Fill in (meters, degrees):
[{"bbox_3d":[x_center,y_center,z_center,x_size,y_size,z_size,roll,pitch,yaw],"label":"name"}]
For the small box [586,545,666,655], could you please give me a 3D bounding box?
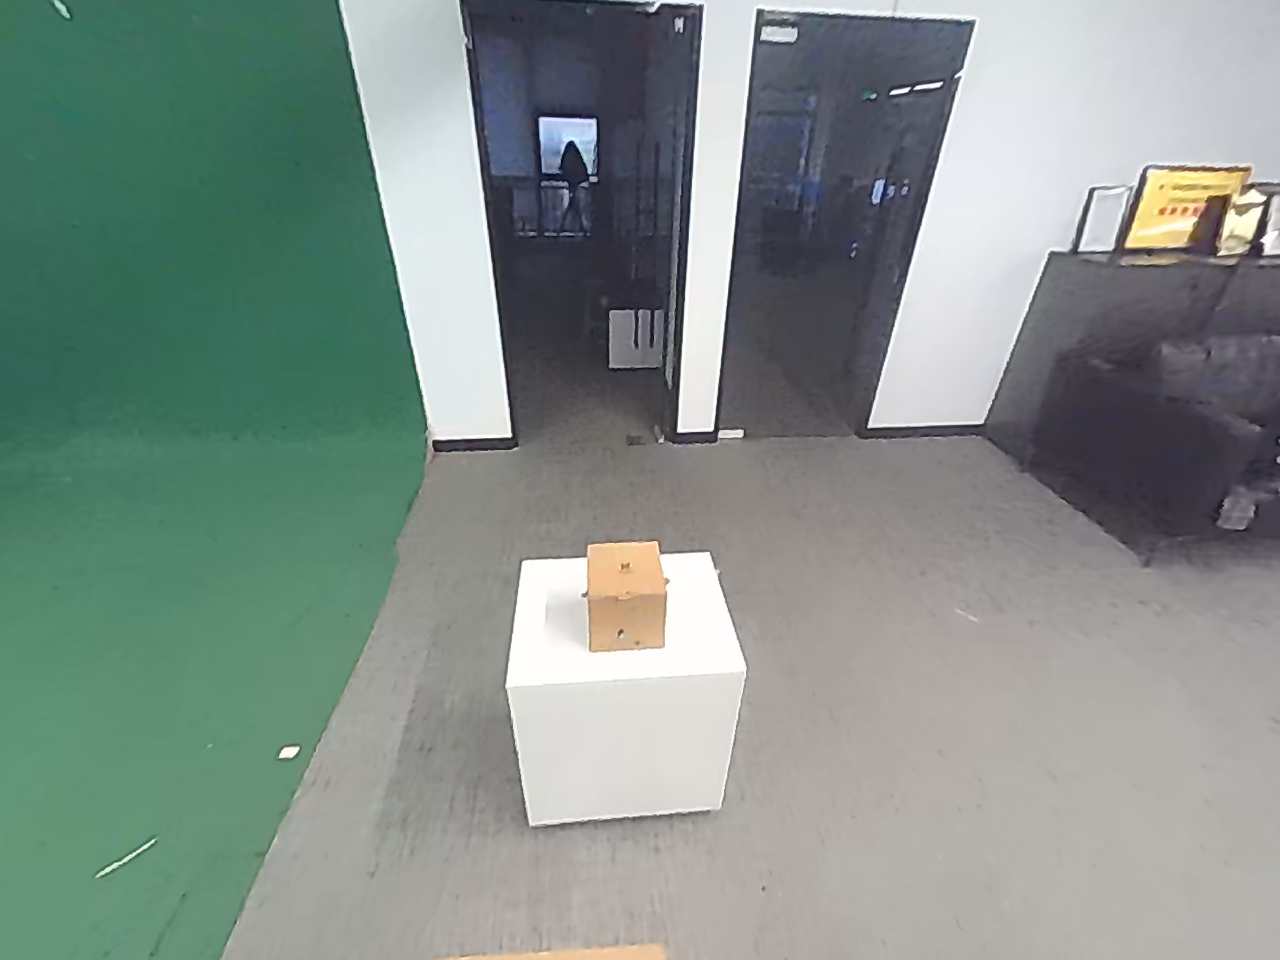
[{"bbox_3d":[-0.037,0.264,1.209,0.168,0.176,0.179,-2,31,-6],"label":"small box"}]
